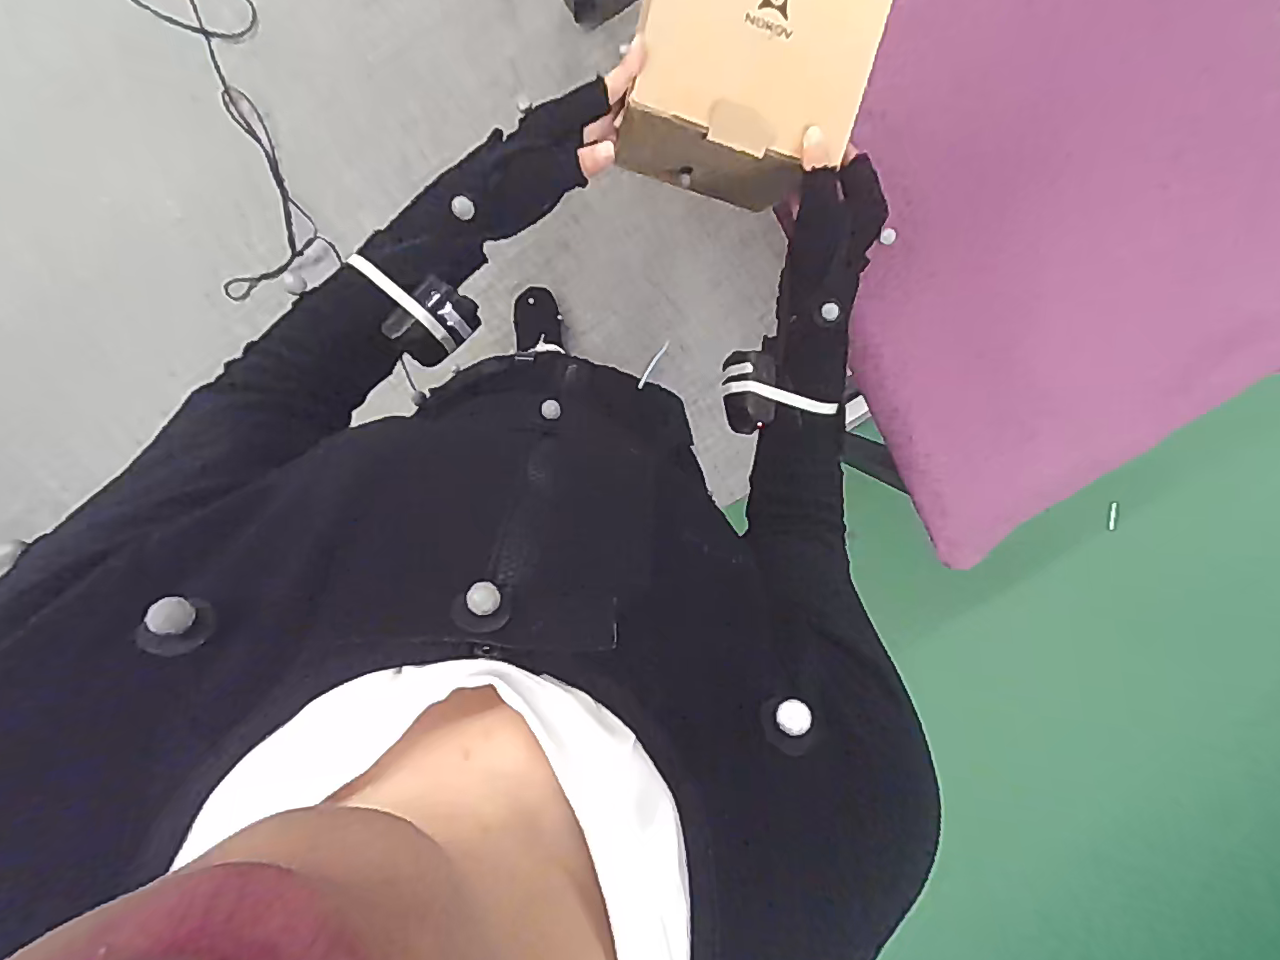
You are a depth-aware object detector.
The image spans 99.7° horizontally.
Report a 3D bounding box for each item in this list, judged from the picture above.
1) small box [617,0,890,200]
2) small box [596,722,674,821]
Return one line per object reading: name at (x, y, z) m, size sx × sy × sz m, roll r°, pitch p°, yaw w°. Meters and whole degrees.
small box at (0.082, -0.360, 0.449) m, size 0.168 × 0.176 × 0.179 m, roll 12°, pitch 107°, yaw -12°
small box at (-0.019, 0.858, 1.617) m, size 0.168 × 0.176 × 0.179 m, roll -32°, pitch 105°, yaw 5°
